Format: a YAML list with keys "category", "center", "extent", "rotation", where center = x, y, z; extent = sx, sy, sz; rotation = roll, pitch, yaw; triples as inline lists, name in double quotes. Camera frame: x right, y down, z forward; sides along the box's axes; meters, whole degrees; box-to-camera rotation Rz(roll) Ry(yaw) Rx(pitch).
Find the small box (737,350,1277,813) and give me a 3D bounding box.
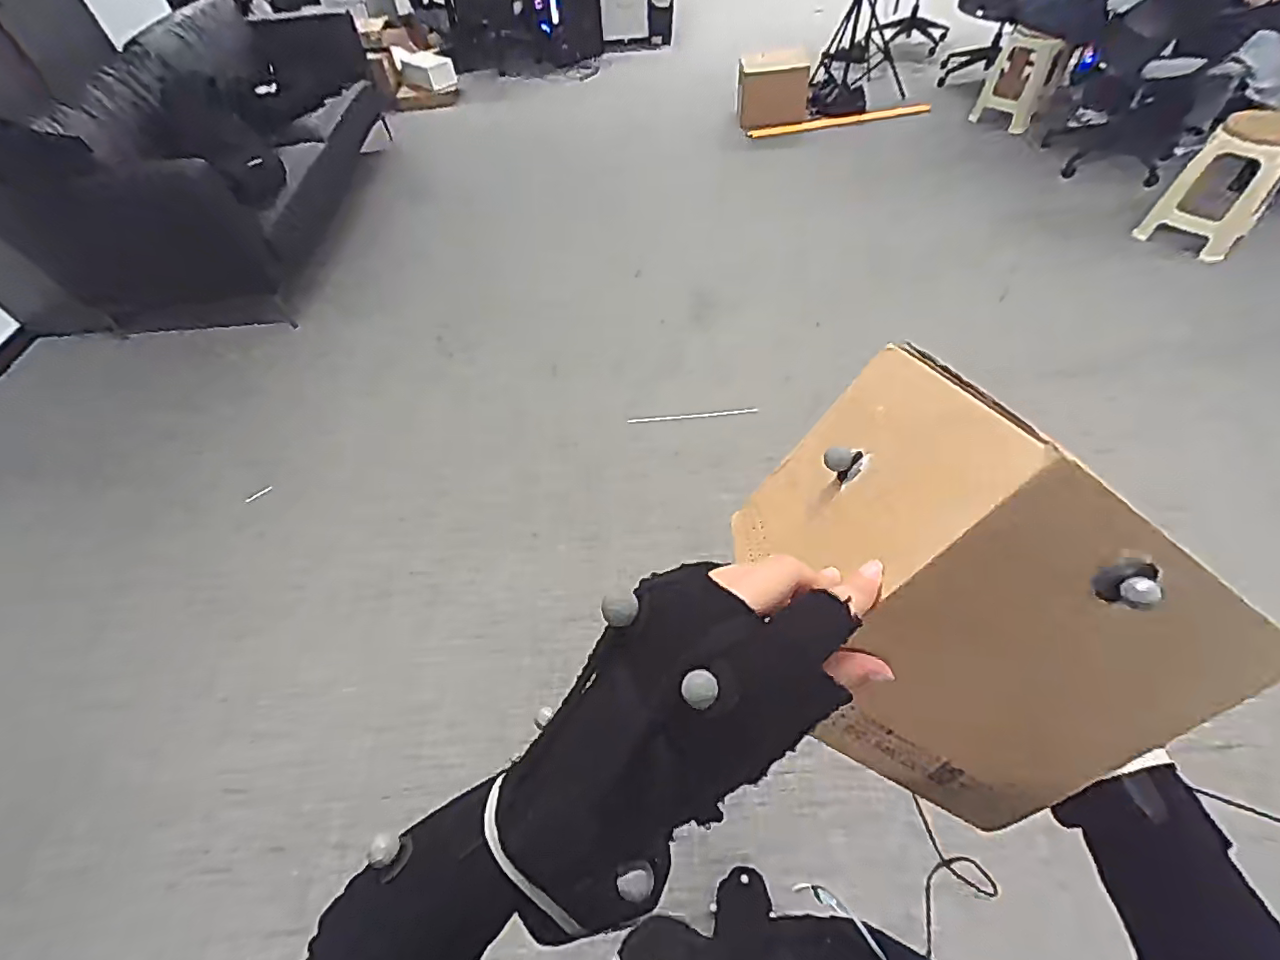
- category: "small box"
  center: [0.175, 0.052, 0.330]
  extent: [0.168, 0.176, 0.179]
  rotation: [32, 24, -11]
